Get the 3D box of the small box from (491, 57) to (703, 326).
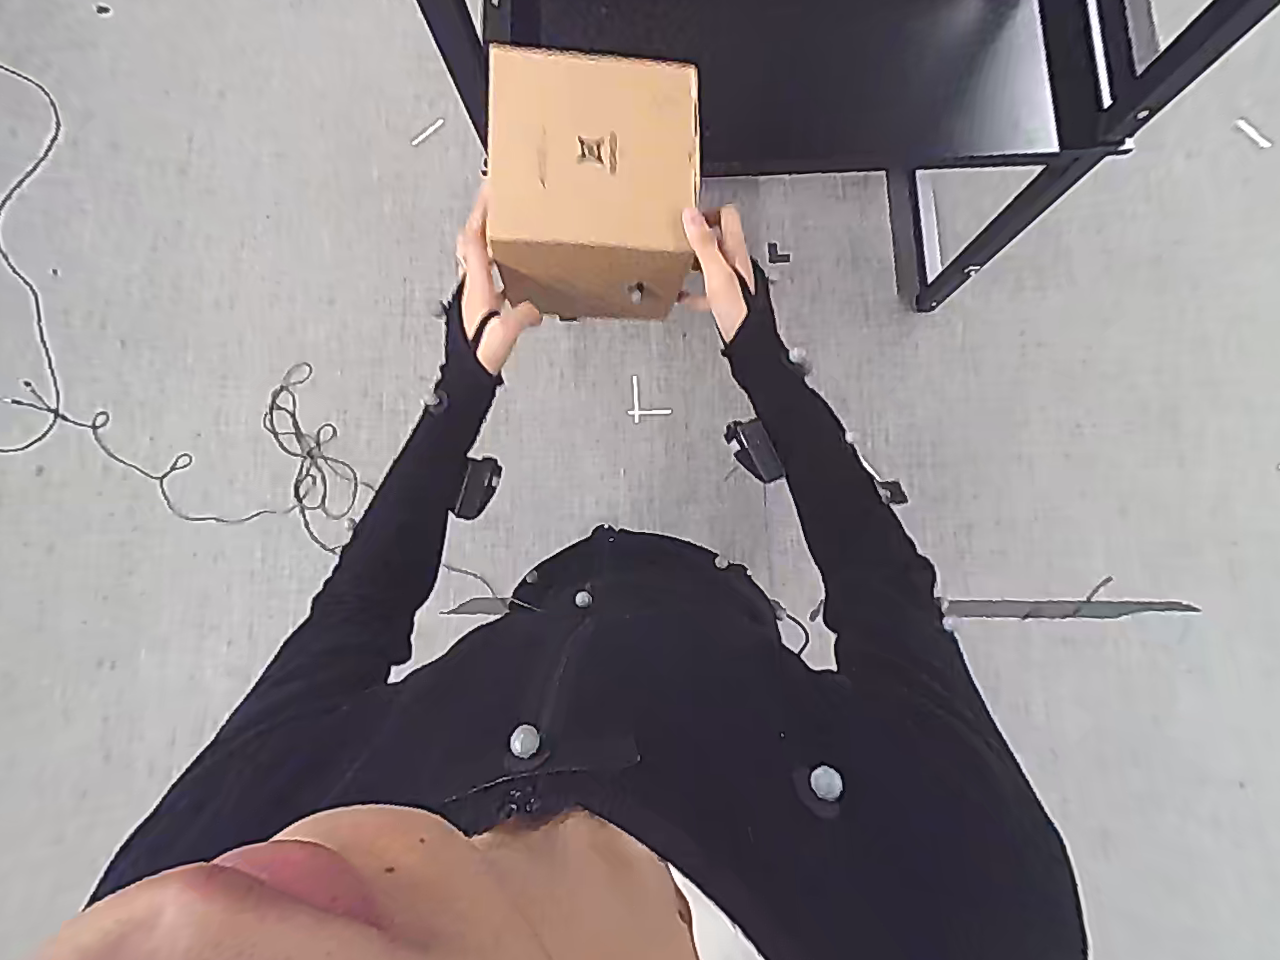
[{"bbox_3d":[-0.043,-0.261,0.532,0.179,0.176,0.168,1,84,-7],"label":"small box"}]
